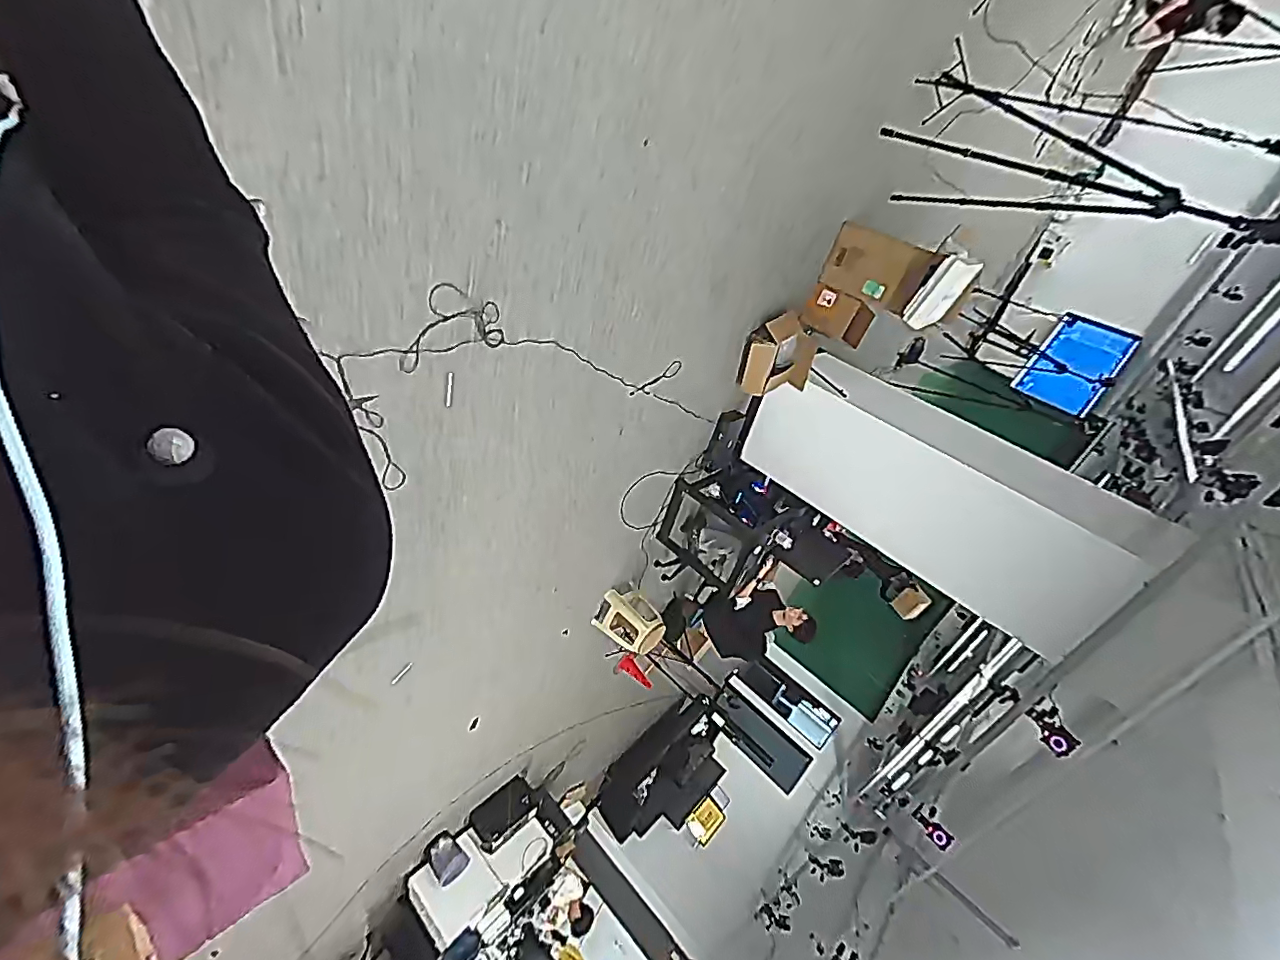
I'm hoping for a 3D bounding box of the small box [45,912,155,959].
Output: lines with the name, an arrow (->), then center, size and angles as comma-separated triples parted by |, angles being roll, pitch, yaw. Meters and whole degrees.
small box -> -1.183, 1.102, 1.180 | 0.168, 0.176, 0.179 | -23, 141, -43
